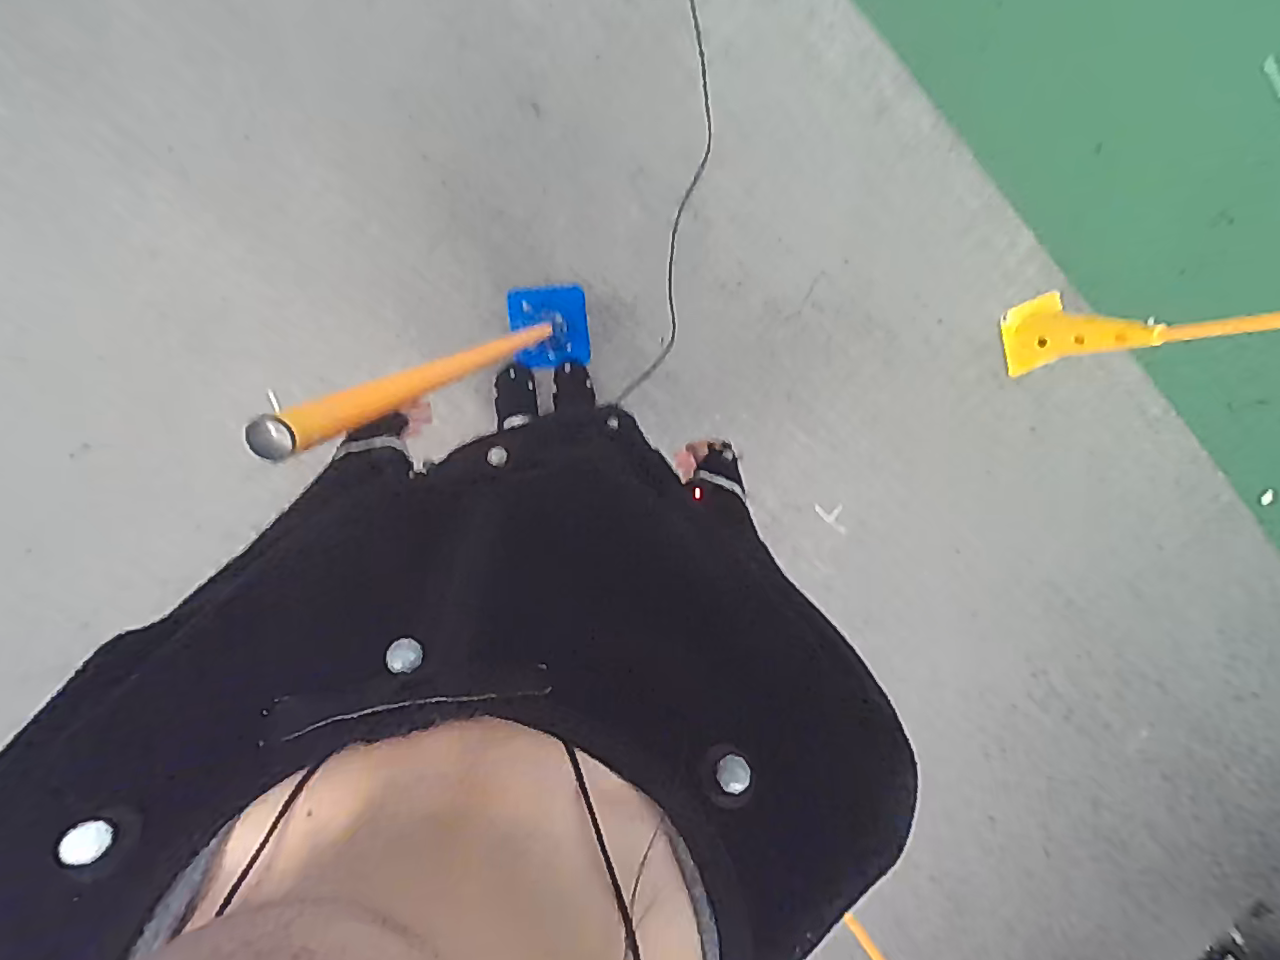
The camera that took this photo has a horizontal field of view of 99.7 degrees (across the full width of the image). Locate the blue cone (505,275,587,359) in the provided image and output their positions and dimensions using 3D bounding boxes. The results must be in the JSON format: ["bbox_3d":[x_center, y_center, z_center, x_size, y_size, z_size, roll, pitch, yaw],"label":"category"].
[{"bbox_3d":[-0.211,-0.360,1.212,0.193,0.380,0.192,-8,108,-5],"label":"blue cone"}]
